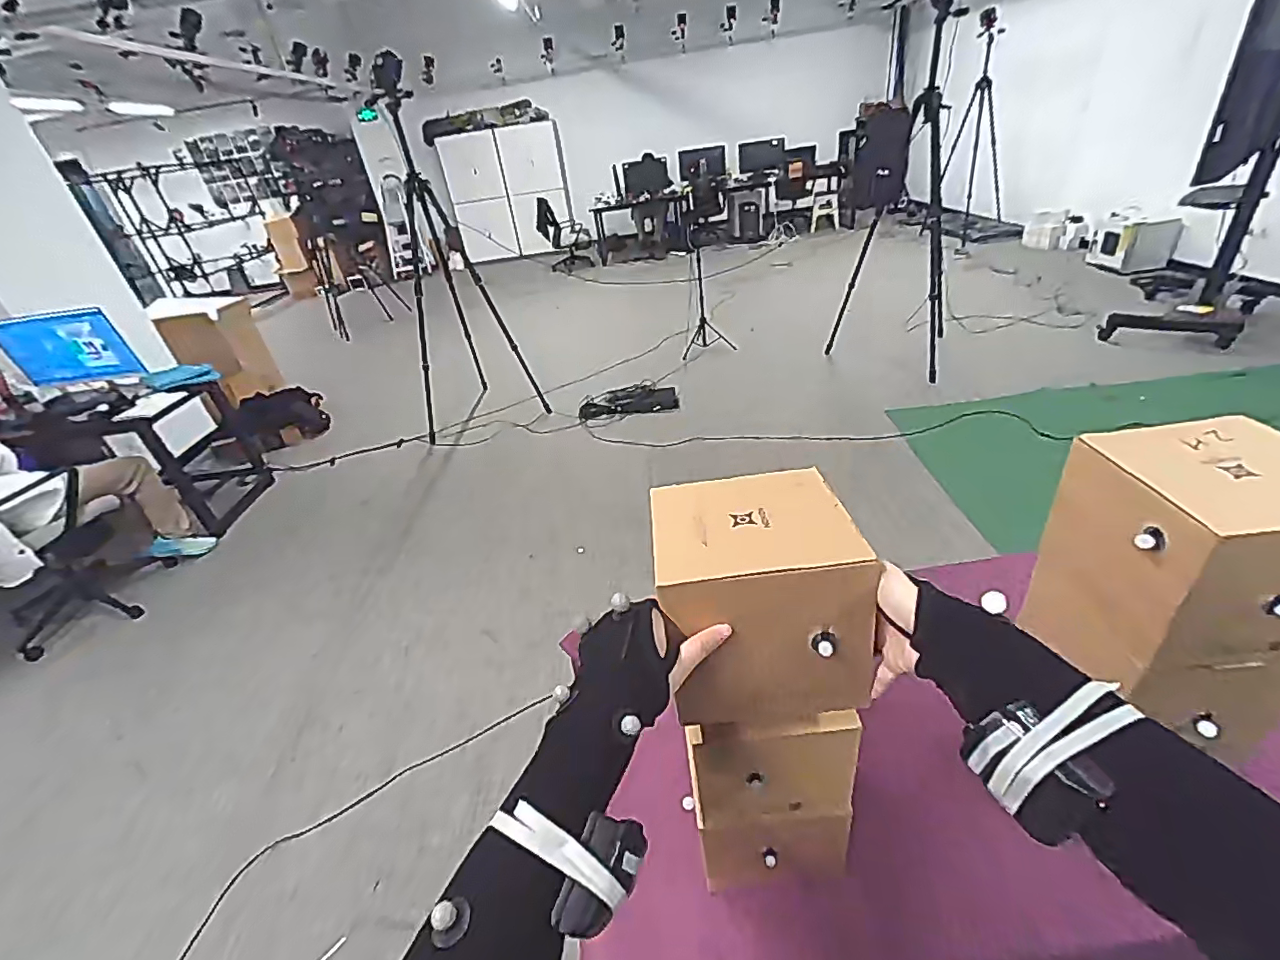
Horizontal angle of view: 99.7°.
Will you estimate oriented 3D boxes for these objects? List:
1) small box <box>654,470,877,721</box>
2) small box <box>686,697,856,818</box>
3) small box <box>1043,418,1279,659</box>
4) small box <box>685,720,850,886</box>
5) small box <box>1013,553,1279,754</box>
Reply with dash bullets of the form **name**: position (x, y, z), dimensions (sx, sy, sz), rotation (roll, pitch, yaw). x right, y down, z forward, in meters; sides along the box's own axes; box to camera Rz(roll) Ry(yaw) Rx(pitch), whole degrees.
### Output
- **small box**: position (0.110, 0.109, 0.529), dimensions (0.179, 0.176, 0.168), rotation (-7, 27, 4)
- **small box**: position (0.138, 0.267, 0.631), dimensions (0.168, 0.176, 0.179), rotation (-7, 31, 3)
- **small box**: position (0.552, 0.060, 0.537), dimensions (0.168, 0.176, 0.179), rotation (-6, 32, 5)
- **small box**: position (0.158, 0.404, 0.717), dimensions (0.179, 0.176, 0.168), rotation (-8, 32, 2)
- **small box**: position (0.577, 0.197, 0.627), dimensions (0.168, 0.176, 0.179), rotation (-5, 33, 6)
